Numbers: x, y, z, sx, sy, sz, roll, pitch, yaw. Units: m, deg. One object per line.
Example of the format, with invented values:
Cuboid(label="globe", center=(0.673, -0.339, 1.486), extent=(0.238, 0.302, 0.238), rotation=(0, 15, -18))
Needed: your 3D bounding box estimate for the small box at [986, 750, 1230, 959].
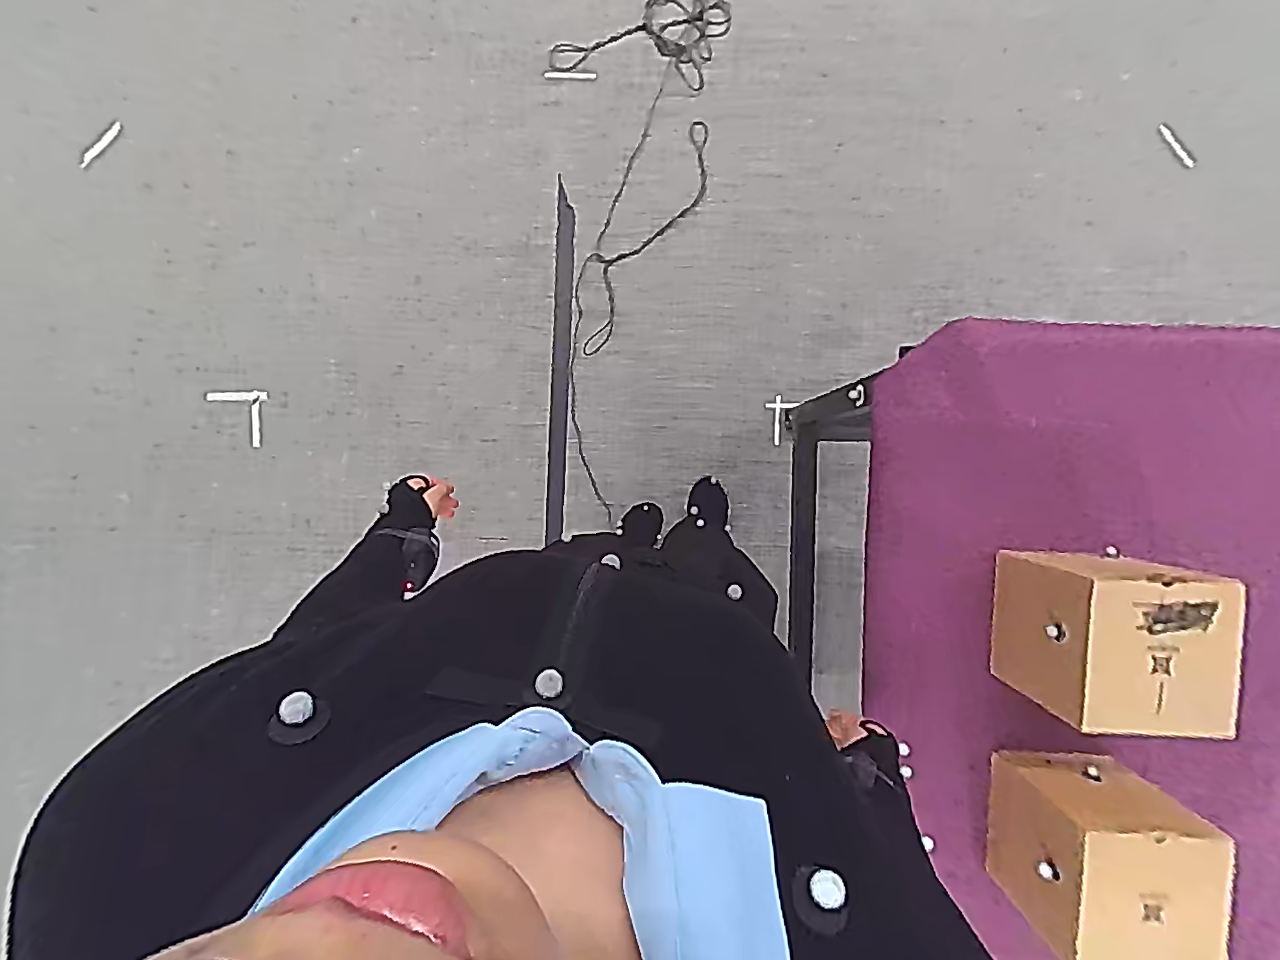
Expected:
Cuboid(label="small box", center=(0.573, 0.477, 0.688), extent=(0.168, 0.176, 0.179), rotation=(2, 92, 1))

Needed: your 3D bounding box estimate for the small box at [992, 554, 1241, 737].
Cuboid(label="small box", center=(0.574, 0.192, 0.675), extent=(0.168, 0.176, 0.179), rotation=(2, 93, 2))
